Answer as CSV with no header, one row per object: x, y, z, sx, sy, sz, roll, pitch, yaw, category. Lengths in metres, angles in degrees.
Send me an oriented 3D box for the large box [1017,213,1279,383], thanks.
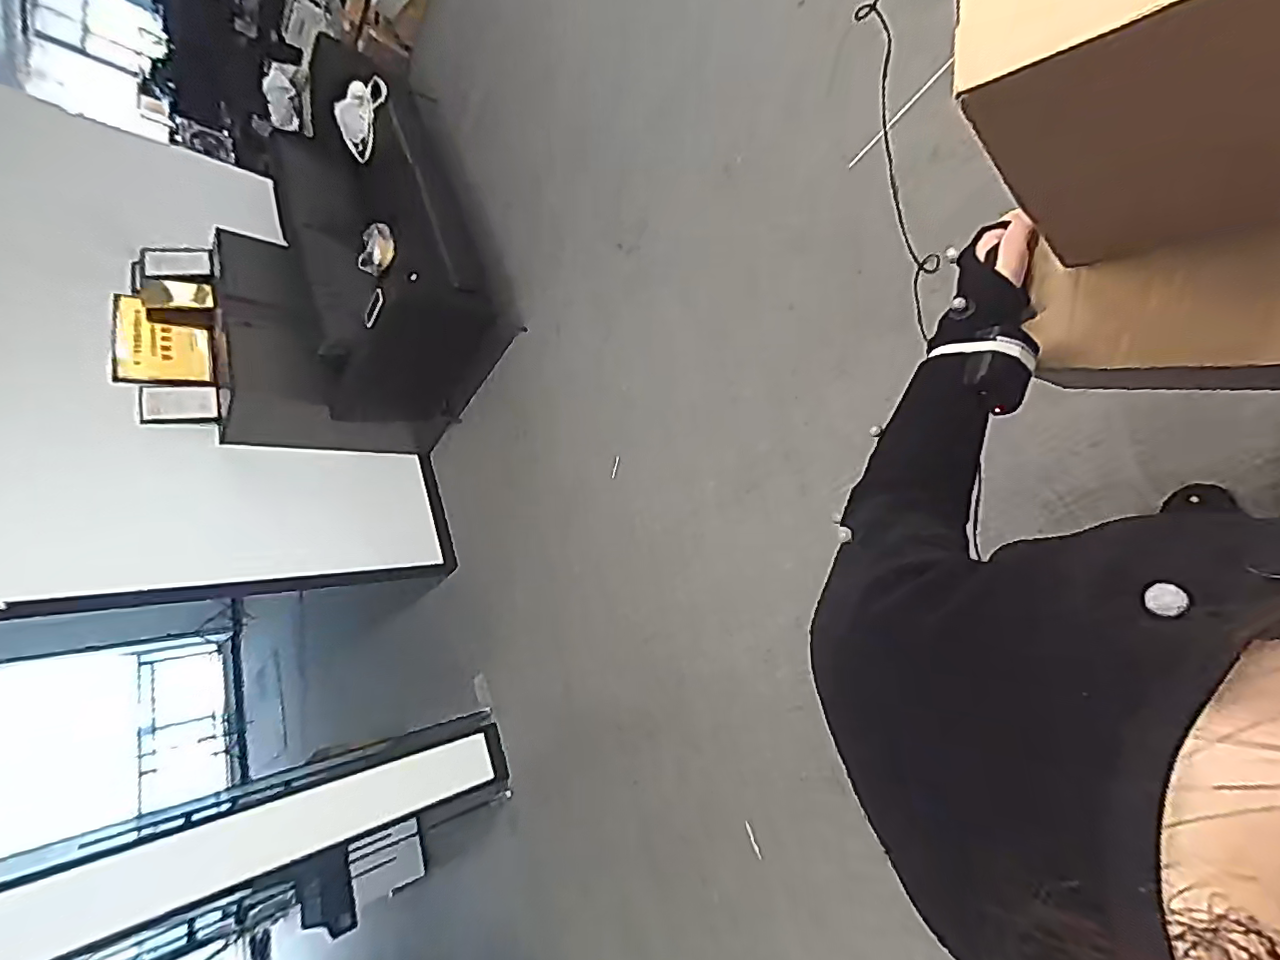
0.612,-0.256,0.476,0.408,0.320,0.320,9,101,44,large box

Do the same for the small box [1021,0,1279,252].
0.380,-0.272,0.361,0.179,0.176,0.168,4,95,46,small box
